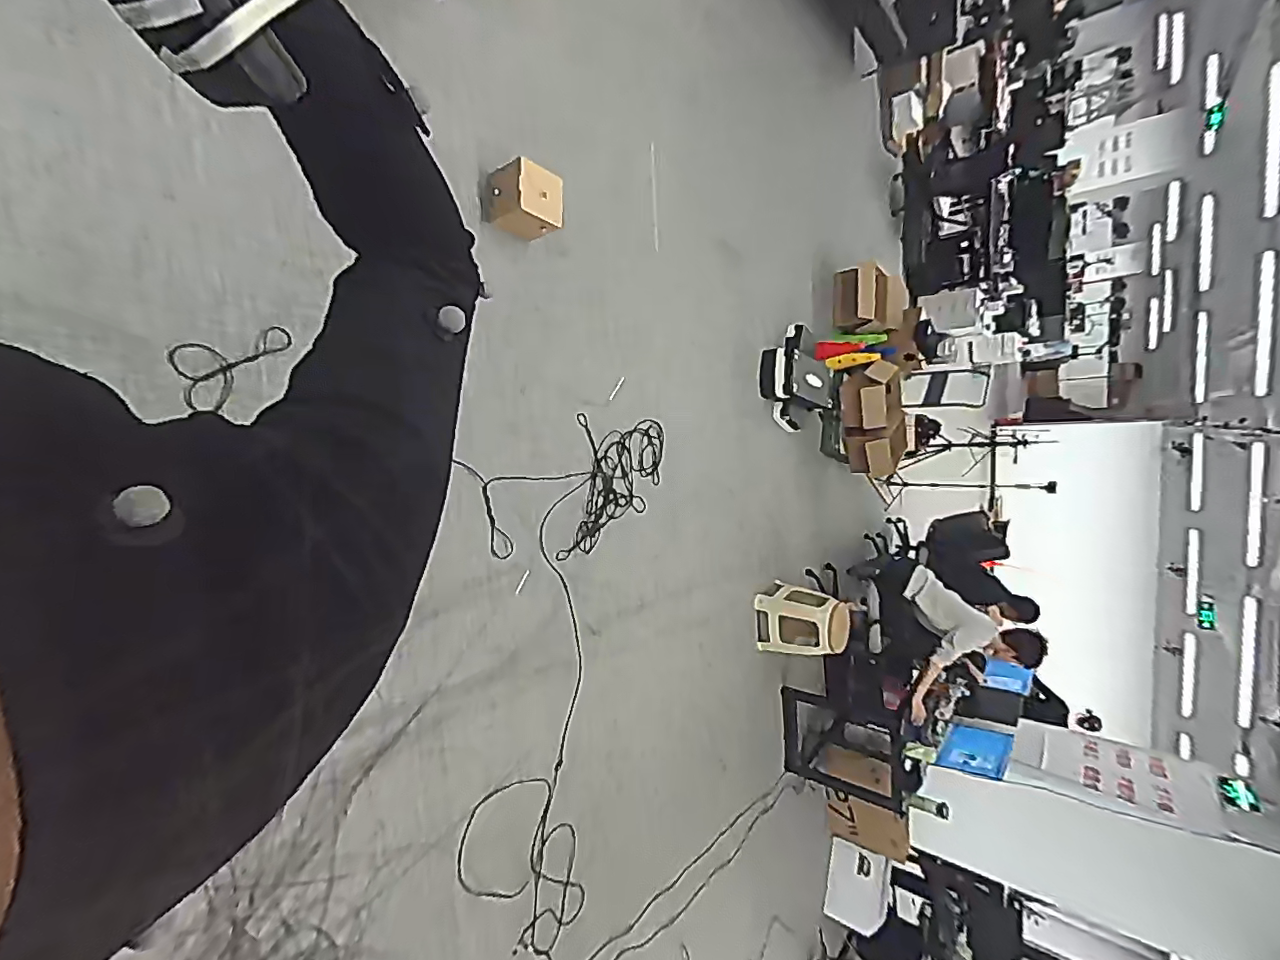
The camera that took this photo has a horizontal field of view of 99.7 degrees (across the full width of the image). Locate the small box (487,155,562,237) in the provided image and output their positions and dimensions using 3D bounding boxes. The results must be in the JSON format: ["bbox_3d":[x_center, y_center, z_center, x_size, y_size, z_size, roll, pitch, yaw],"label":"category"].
[{"bbox_3d":[-0.379,-0.924,1.780,0.179,0.176,0.168,1,90,-50],"label":"small box"}]
